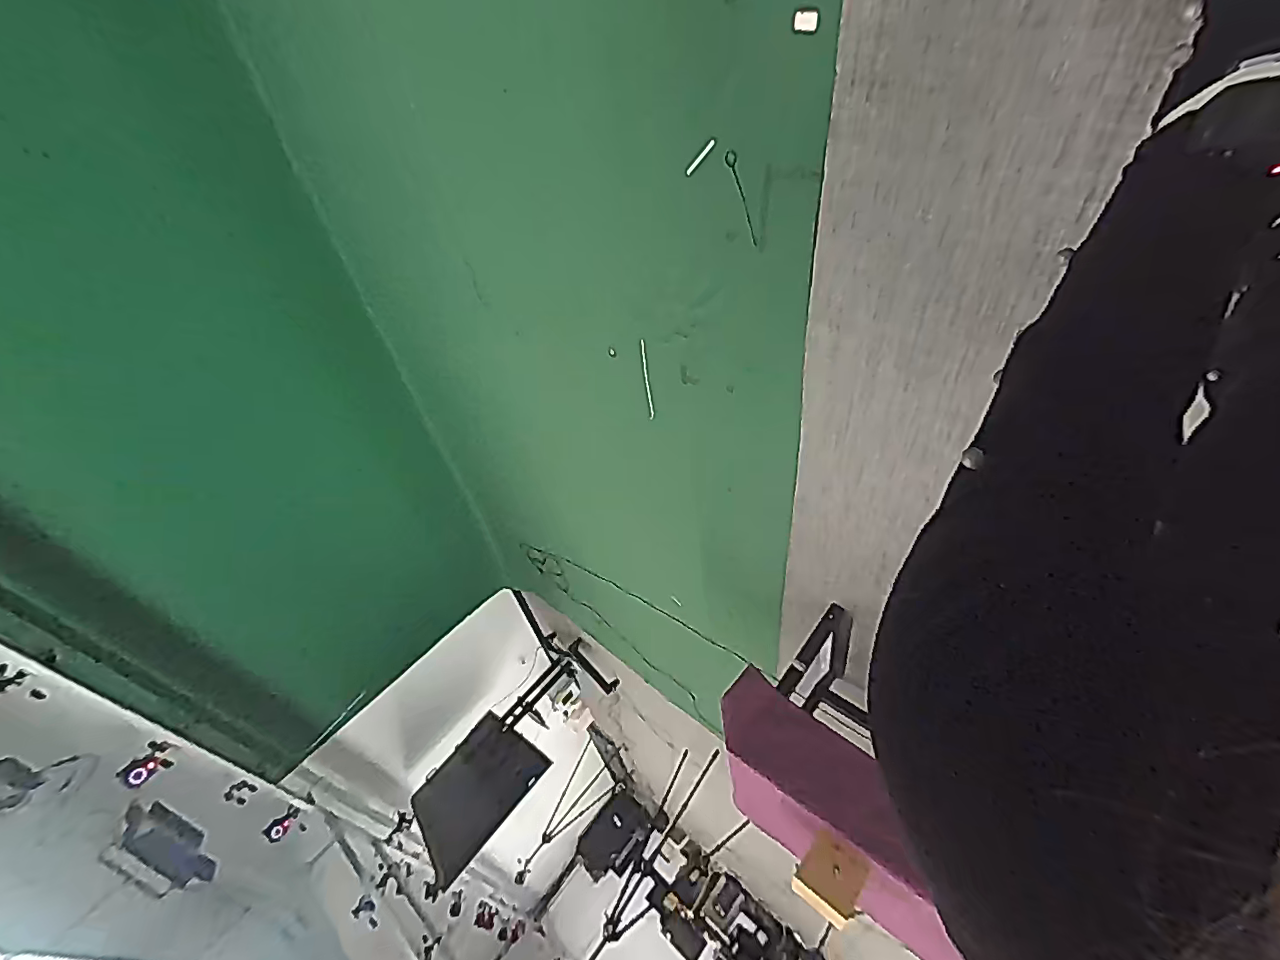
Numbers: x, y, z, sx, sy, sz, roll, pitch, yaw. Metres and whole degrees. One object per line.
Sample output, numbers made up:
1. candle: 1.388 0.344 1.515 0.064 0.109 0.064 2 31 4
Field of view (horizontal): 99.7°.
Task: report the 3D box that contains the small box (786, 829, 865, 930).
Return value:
1. small box: 0.561 1.199 1.633 0.168 0.176 0.179 27 145 34
